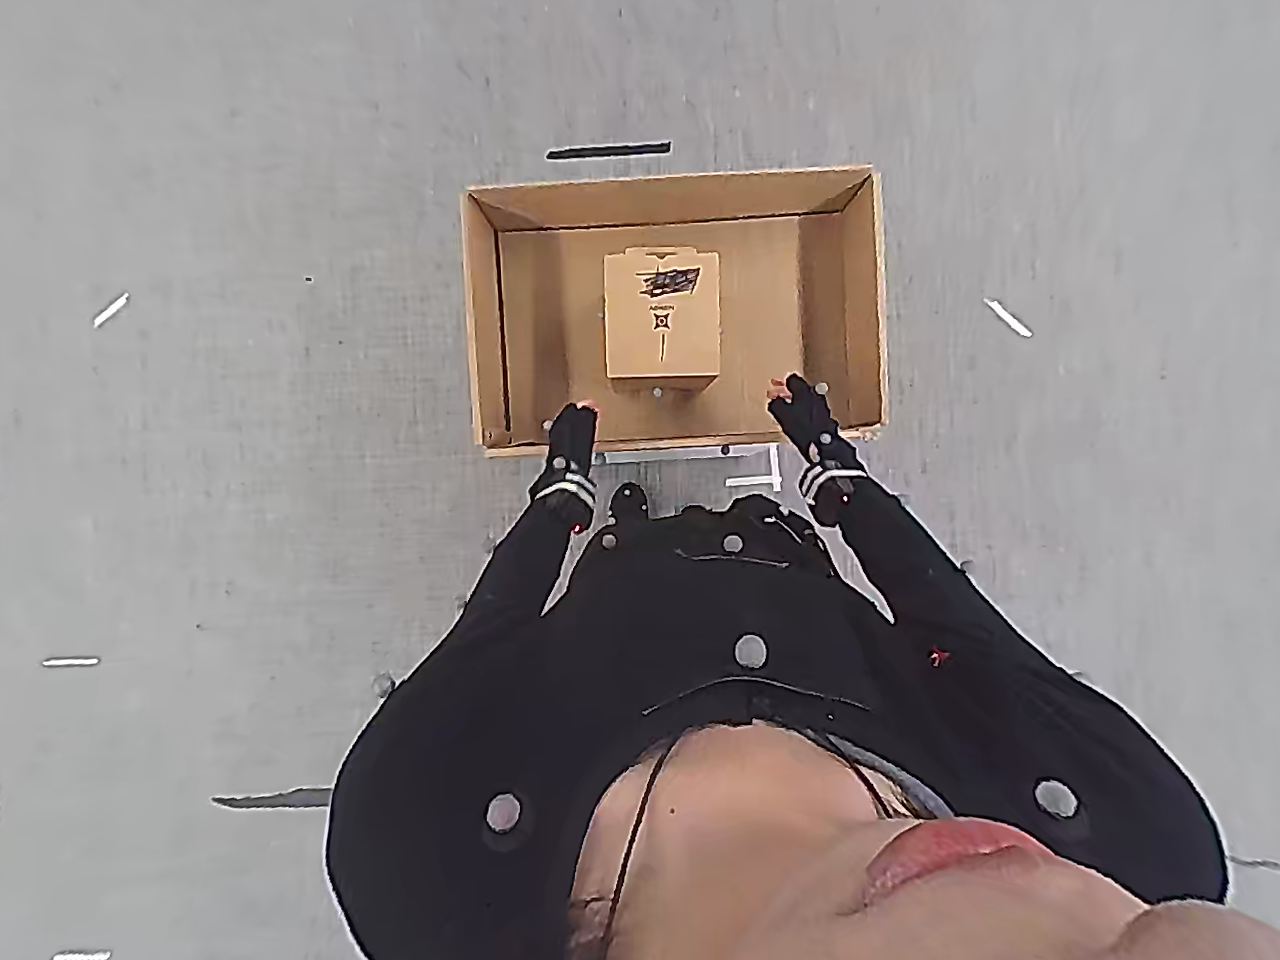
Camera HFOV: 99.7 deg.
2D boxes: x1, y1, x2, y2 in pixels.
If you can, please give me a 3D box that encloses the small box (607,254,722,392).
[{"bbox_3d":[0.034,-0.236,0.848,0.168,0.176,0.179,-1,93,0],"label":"small box"}]
